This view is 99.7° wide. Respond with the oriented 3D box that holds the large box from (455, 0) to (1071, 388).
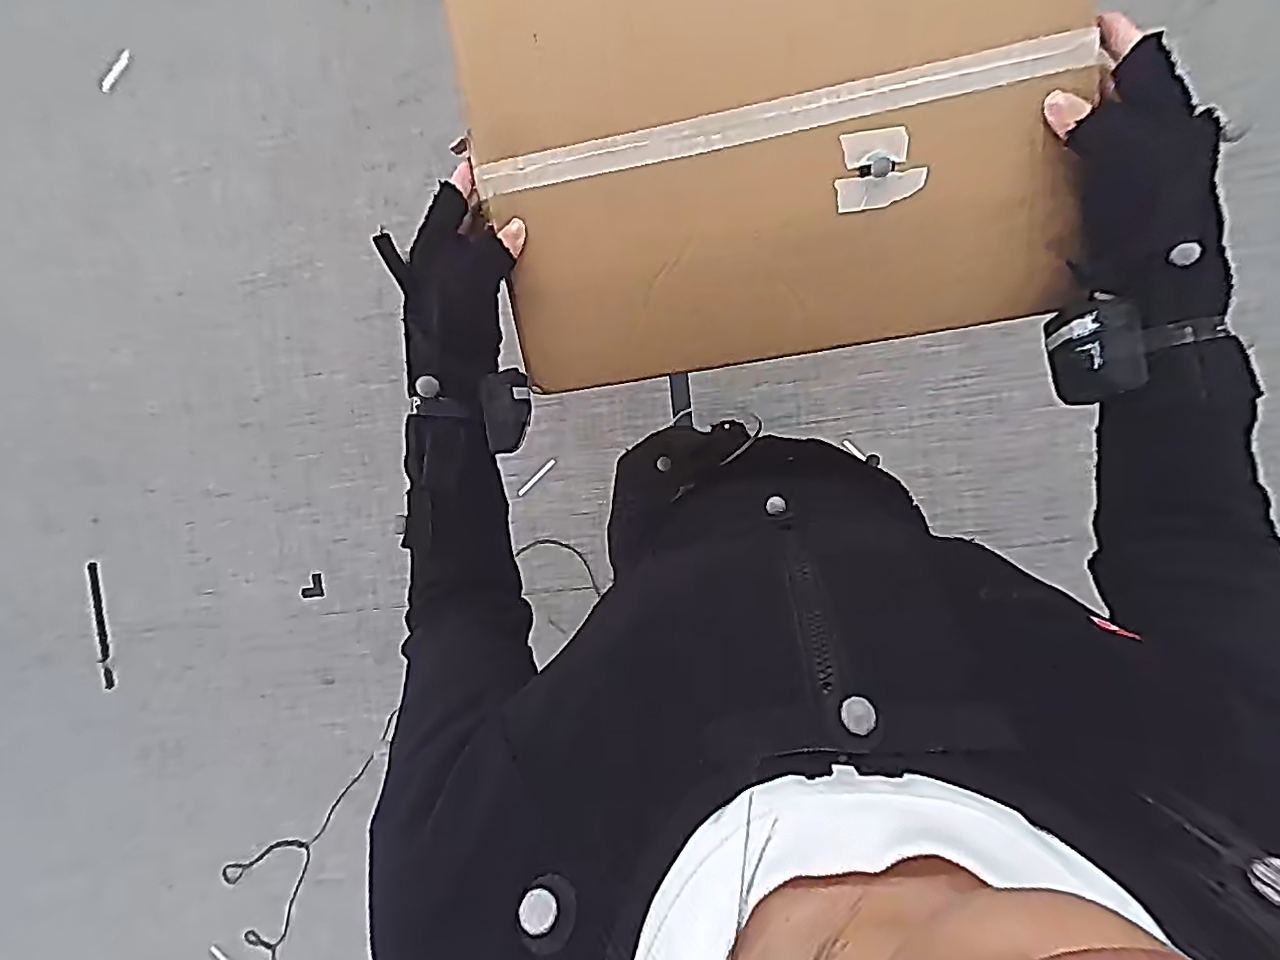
[{"bbox_3d":[0.097,-0.288,0.523,0.408,0.320,0.320,-8,106,7],"label":"large box"}]
